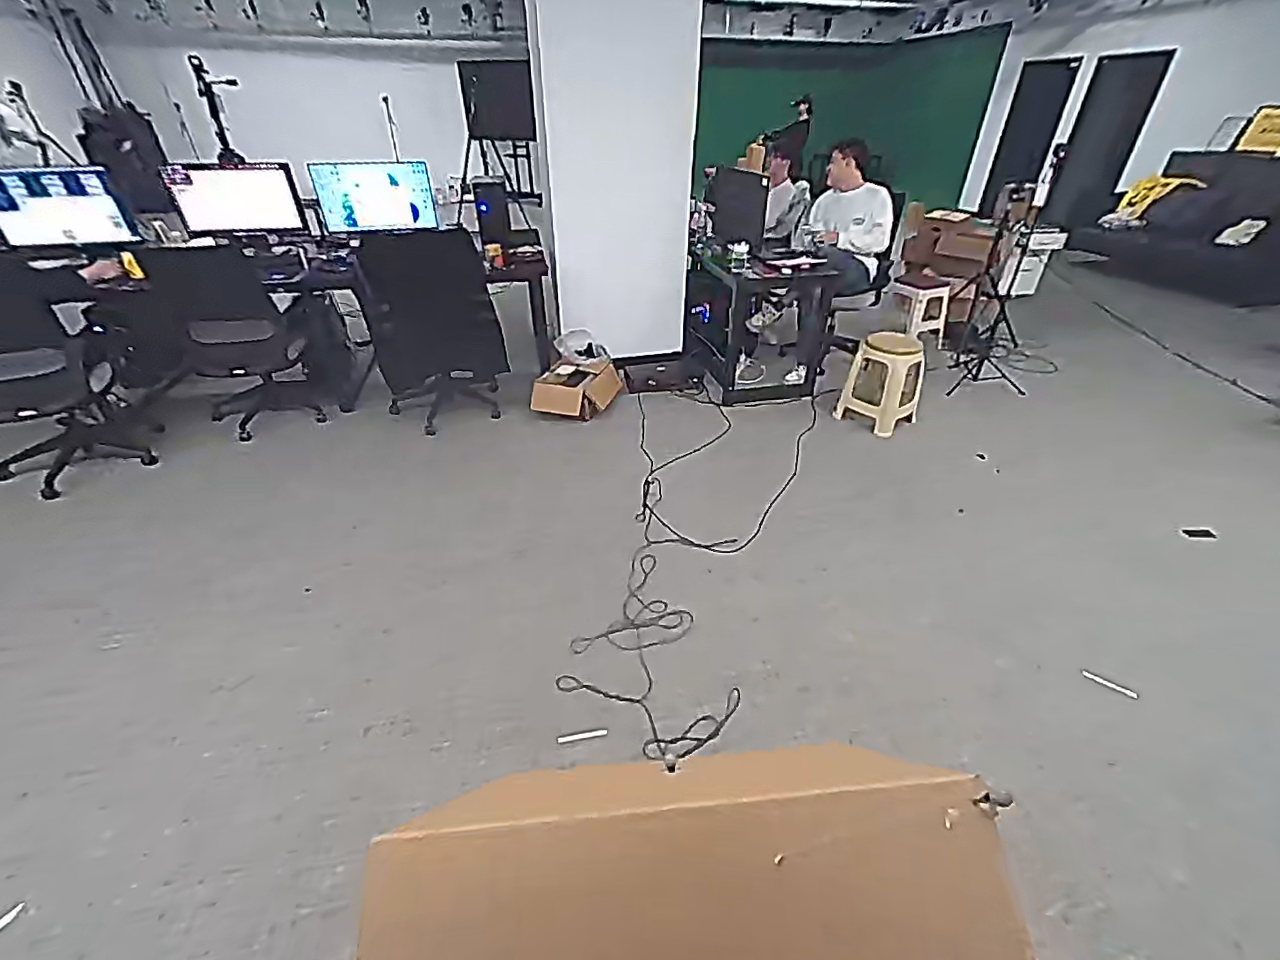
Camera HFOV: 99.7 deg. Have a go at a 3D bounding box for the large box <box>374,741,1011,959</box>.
[{"bbox_3d":[0.040,0.419,0.452,0.408,0.320,0.320,-7,69,0],"label":"large box"}]
